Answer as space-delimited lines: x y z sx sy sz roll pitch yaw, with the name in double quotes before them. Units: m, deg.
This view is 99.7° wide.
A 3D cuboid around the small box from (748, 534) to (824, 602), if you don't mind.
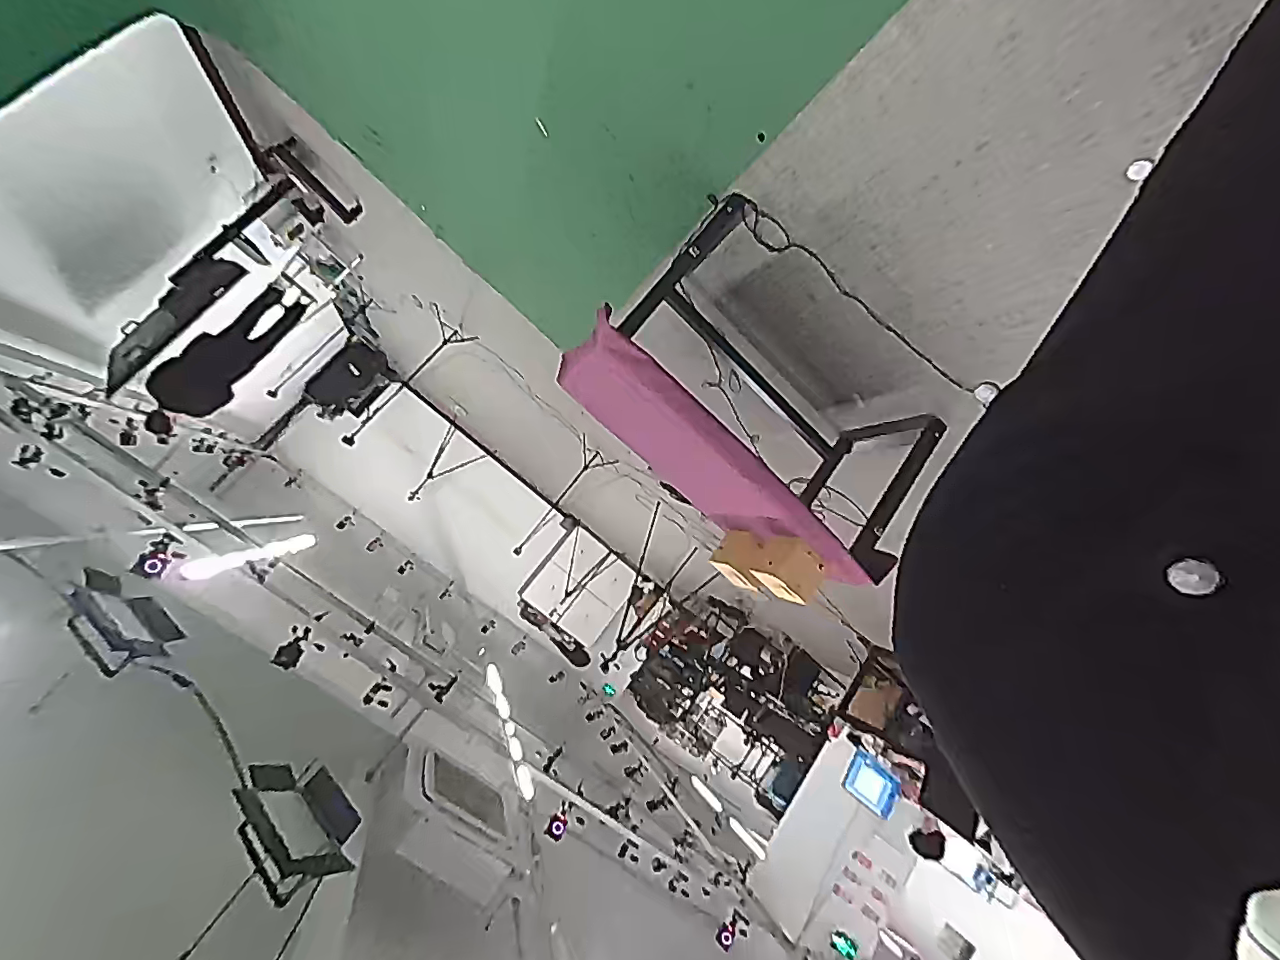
"small box" 0.525 0.307 1.923 0.168 0.176 0.179 42 165 -14
